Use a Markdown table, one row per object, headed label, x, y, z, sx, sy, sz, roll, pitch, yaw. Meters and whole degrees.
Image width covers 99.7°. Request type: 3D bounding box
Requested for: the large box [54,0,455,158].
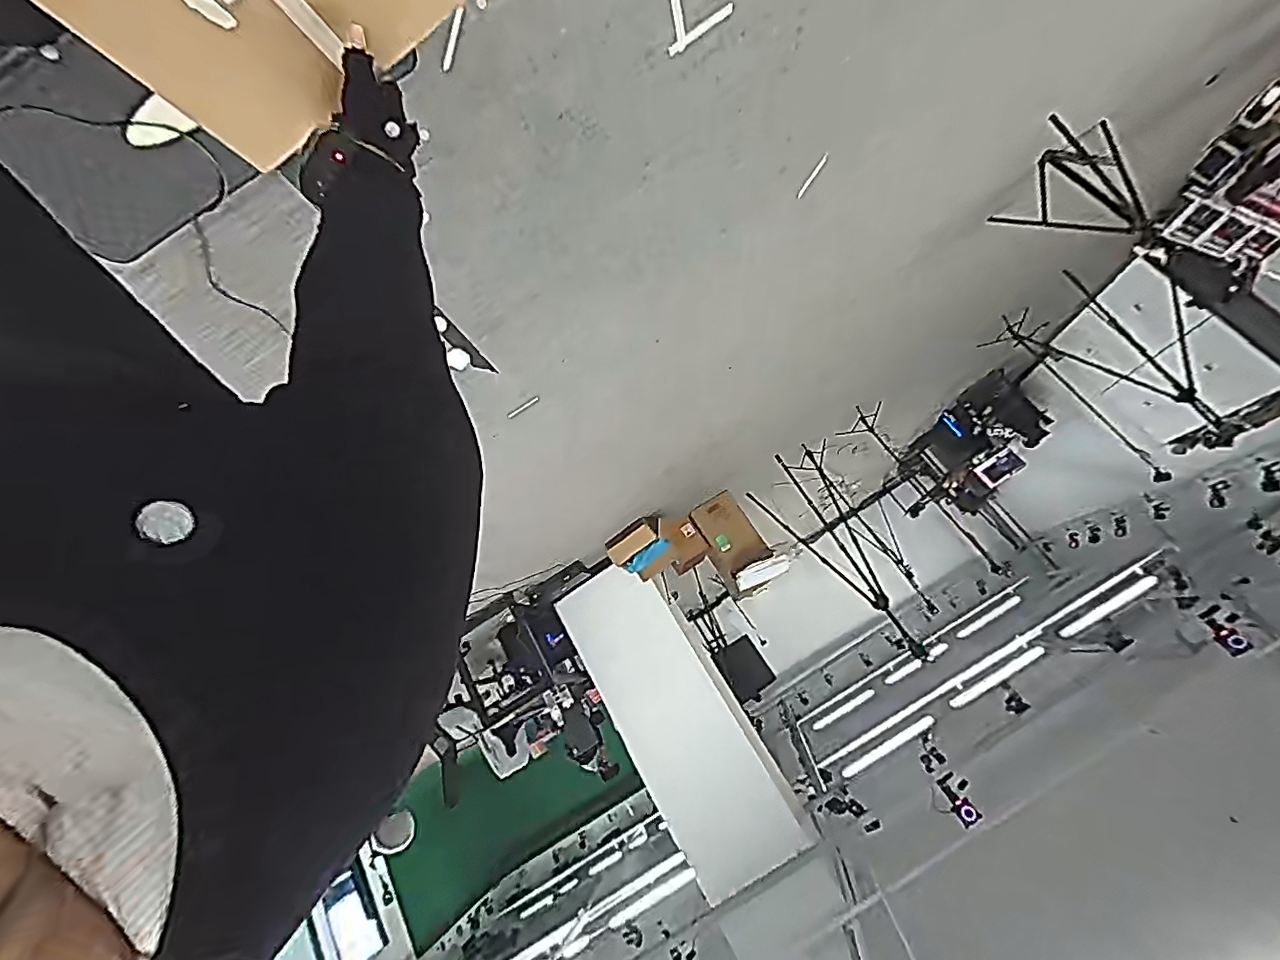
| label | x | y | z | sx | sy | sz | roll | pitch | yaw |
| --- | --- | --- | --- | --- | --- | --- | --- | --- | --- |
| large box | -0.416 | -0.593 | 0.436 | 0.320 | 0.320 | 0.408 | -30 | 162 | 12 |
